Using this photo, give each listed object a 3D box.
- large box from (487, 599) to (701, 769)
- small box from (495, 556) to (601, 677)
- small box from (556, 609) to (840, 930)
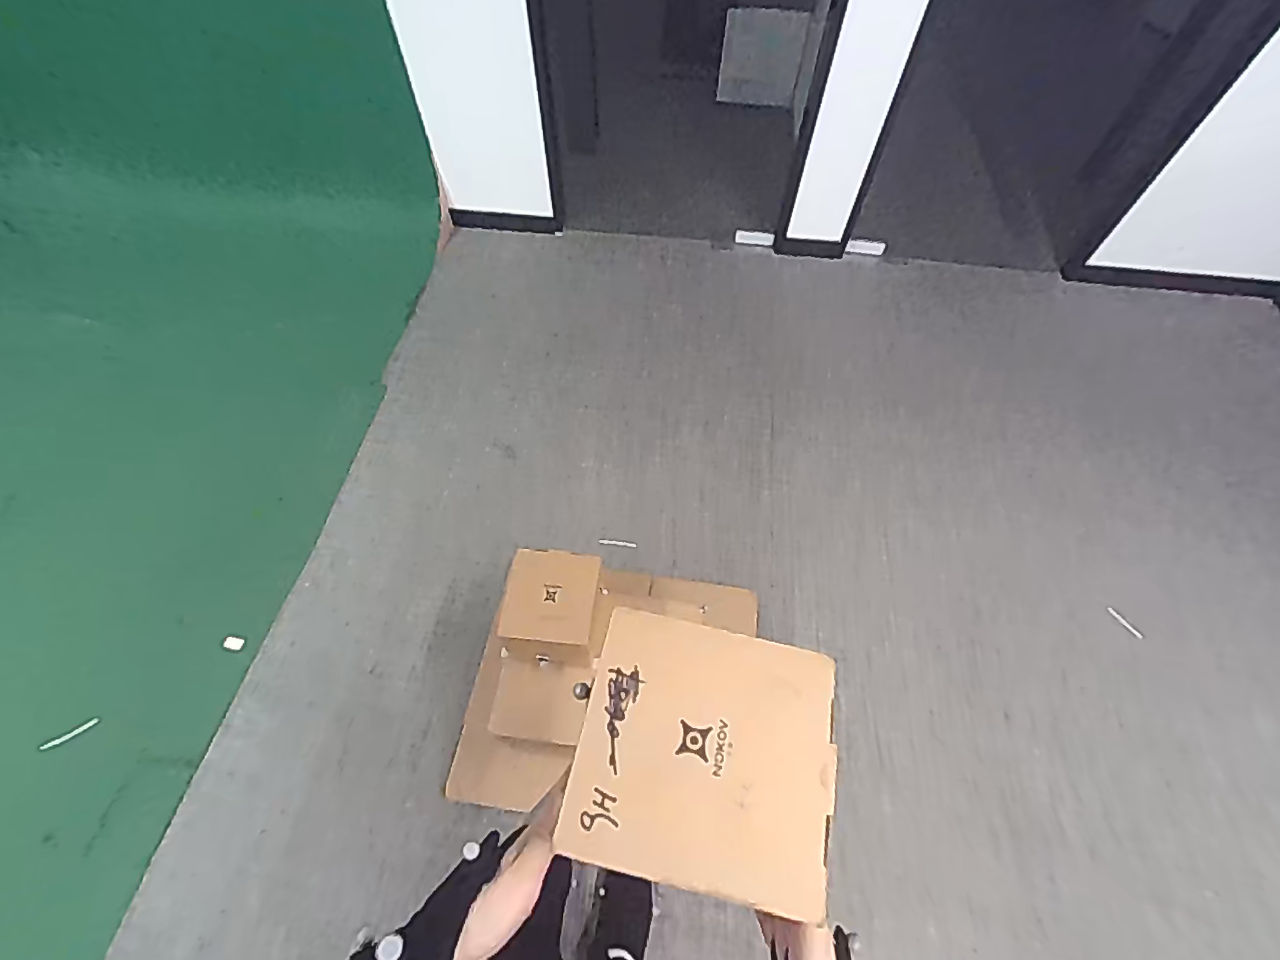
[{"bbox_3d":[-0.087,0.470,1.219,0.408,0.320,0.320,7,58,1],"label":"large box"},{"bbox_3d":[-0.169,0.269,1.057,0.168,0.176,0.179,5,57,2],"label":"small box"},{"bbox_3d":[0.043,0.229,0.442,0.179,0.176,0.168,14,57,4],"label":"small box"}]
